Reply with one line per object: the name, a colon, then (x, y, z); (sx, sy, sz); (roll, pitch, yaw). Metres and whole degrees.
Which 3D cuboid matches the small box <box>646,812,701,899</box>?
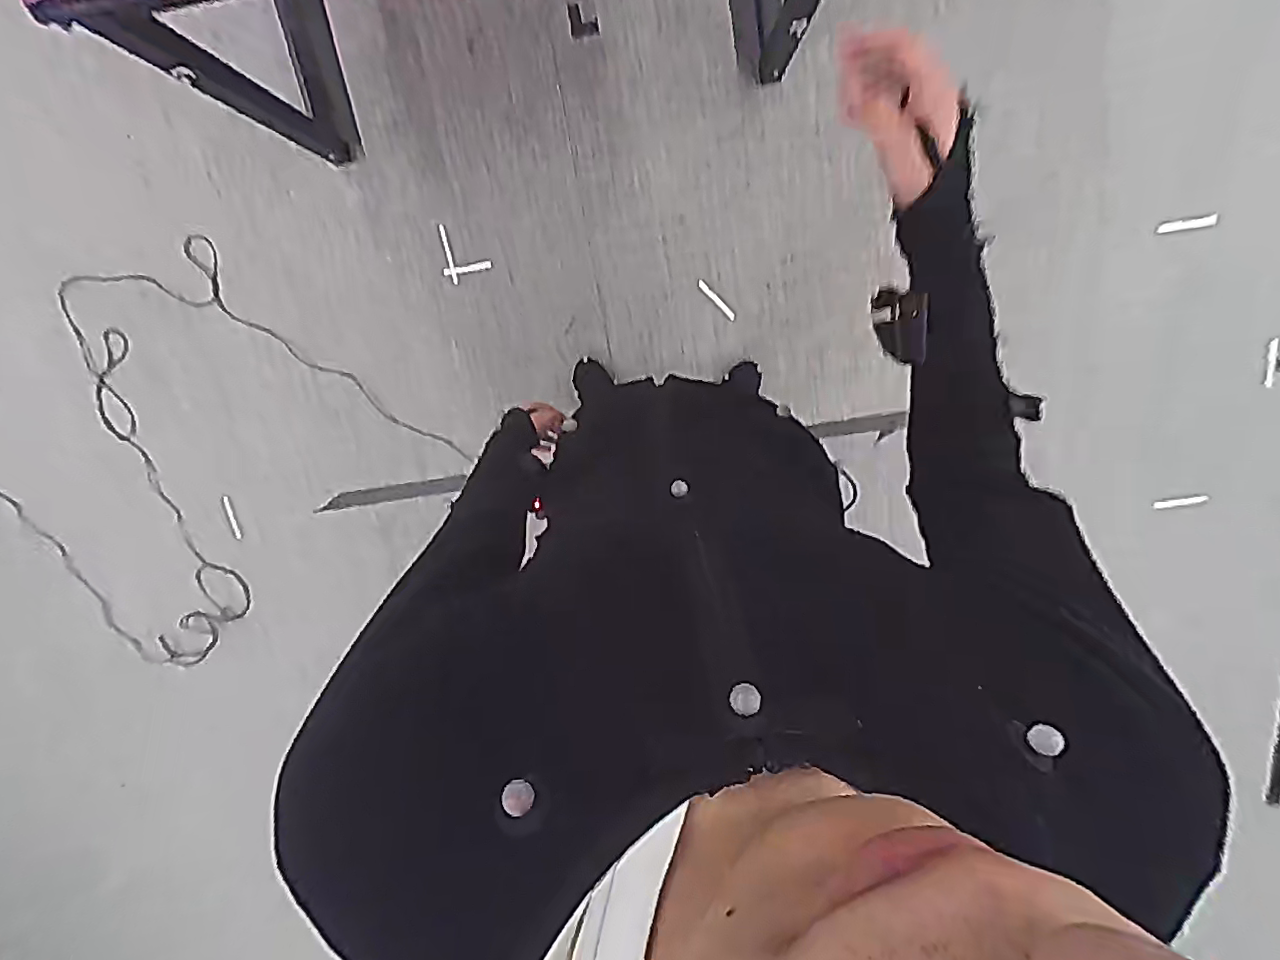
small box: (0.114, 1.288, 1.861); (0.168, 0.176, 0.179); (-9, 102, 2)
